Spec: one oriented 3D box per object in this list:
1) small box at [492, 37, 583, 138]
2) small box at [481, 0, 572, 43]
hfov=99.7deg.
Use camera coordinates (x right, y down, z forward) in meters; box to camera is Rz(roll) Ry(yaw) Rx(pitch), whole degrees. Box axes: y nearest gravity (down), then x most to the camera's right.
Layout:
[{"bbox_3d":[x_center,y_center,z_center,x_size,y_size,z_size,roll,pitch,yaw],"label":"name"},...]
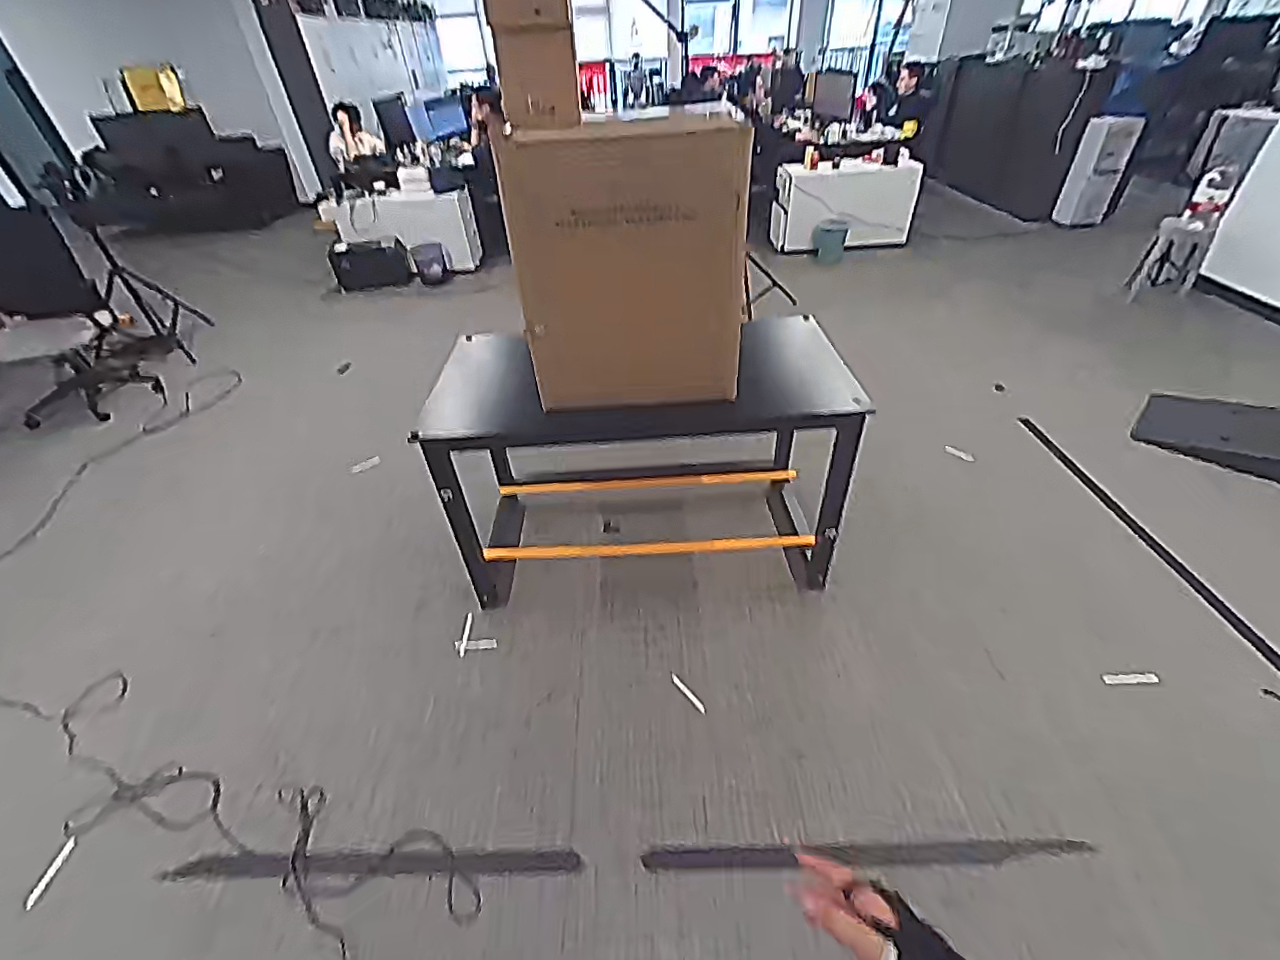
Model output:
[{"bbox_3d":[-0.219,-0.868,1.199,0.168,0.176,0.179,-6,39,-2],"label":"small box"},{"bbox_3d":[-0.230,-0.987,1.085,0.168,0.176,0.179,-5,39,-1],"label":"small box"}]
